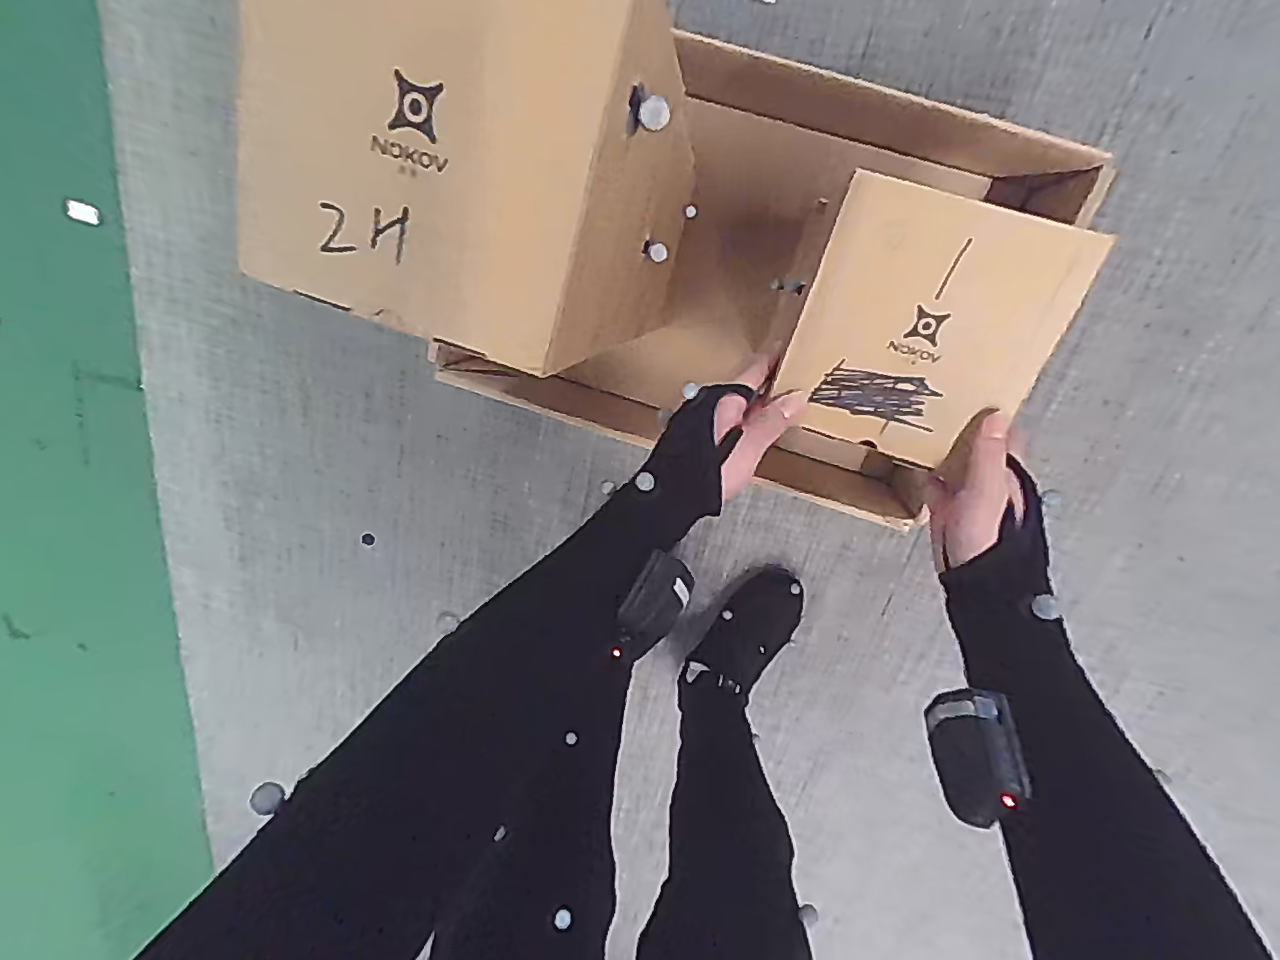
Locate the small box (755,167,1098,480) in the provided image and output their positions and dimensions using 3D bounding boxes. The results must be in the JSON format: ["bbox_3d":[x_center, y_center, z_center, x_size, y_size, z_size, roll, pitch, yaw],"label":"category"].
[{"bbox_3d":[0.204,-0.127,0.447,0.168,0.176,0.179,18,112,5],"label":"small box"}]

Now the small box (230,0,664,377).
[{"bbox_3d":[-0.090,-0.178,0.313,0.168,0.176,0.179,19,111,3],"label":"small box"}]

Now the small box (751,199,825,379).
[{"bbox_3d":[0.229,-0.185,0.601,0.168,0.176,0.179,19,112,6],"label":"small box"}]

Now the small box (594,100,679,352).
[{"bbox_3d":[-0.068,-0.227,0.469,0.168,0.176,0.179,18,111,3],"label":"small box"}]
